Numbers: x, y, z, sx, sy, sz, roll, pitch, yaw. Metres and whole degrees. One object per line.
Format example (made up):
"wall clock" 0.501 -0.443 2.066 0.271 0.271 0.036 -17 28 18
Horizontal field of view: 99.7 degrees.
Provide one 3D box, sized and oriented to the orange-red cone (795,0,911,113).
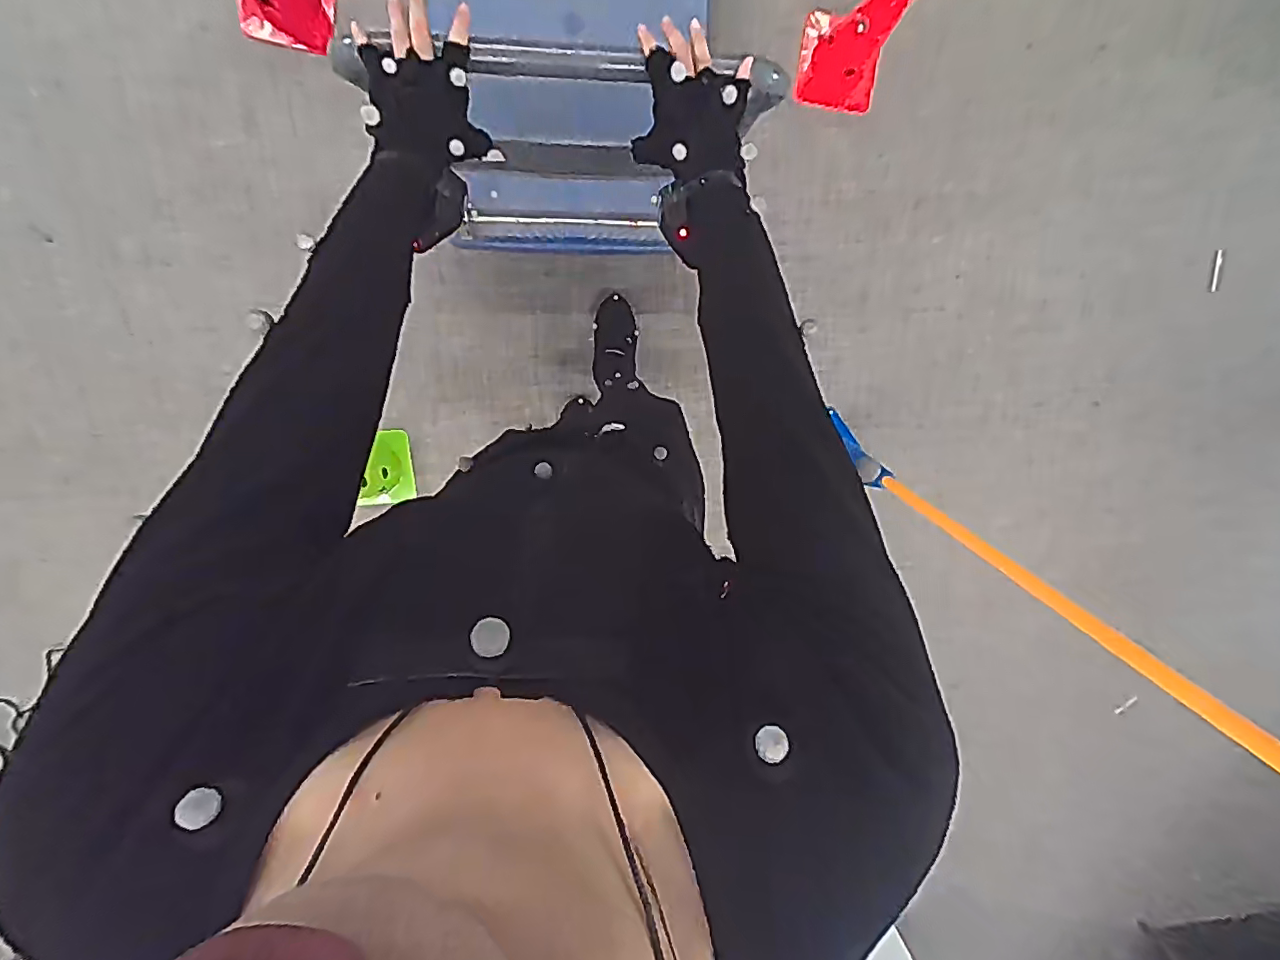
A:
"orange-red cone" 0.508 -0.996 1.174 0.198 0.360 0.199 8 102 -6
